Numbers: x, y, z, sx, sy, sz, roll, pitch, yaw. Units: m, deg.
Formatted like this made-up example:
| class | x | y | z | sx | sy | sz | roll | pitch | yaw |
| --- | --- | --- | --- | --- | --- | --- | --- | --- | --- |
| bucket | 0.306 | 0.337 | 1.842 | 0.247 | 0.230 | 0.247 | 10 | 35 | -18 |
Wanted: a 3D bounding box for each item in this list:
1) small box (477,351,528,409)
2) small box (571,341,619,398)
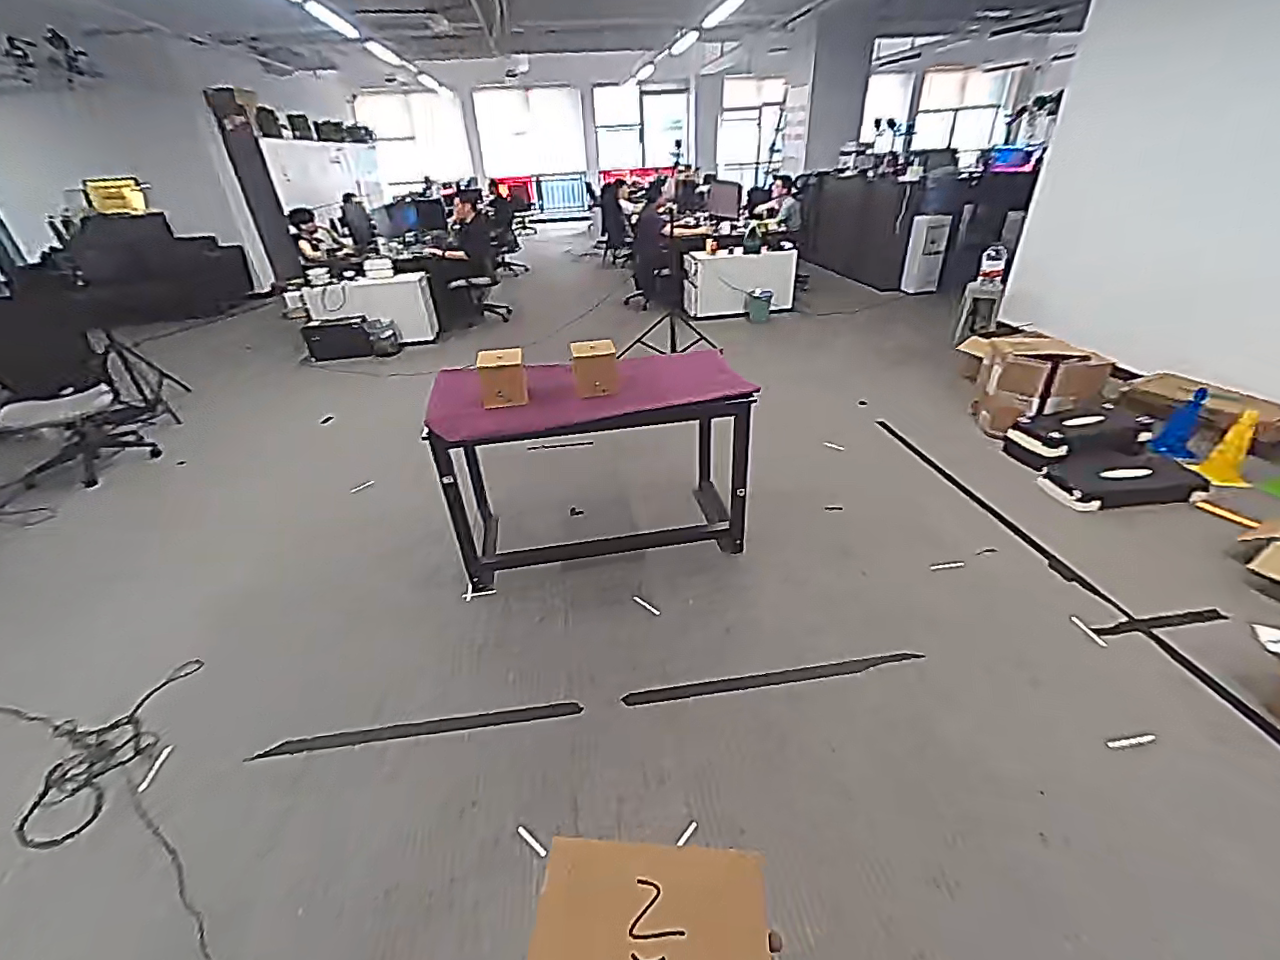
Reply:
| class | x | y | z | sx | sy | sz | roll | pitch | yaw |
| --- | --- | --- | --- | --- | --- | --- | --- | --- | --- |
| small box | -0.527 | -0.387 | 2.084 | 0.168 | 0.176 | 0.179 | -7 | 33 | -8 |
| small box | -0.179 | -0.436 | 2.128 | 0.168 | 0.176 | 0.179 | -8 | 32 | -7 |
